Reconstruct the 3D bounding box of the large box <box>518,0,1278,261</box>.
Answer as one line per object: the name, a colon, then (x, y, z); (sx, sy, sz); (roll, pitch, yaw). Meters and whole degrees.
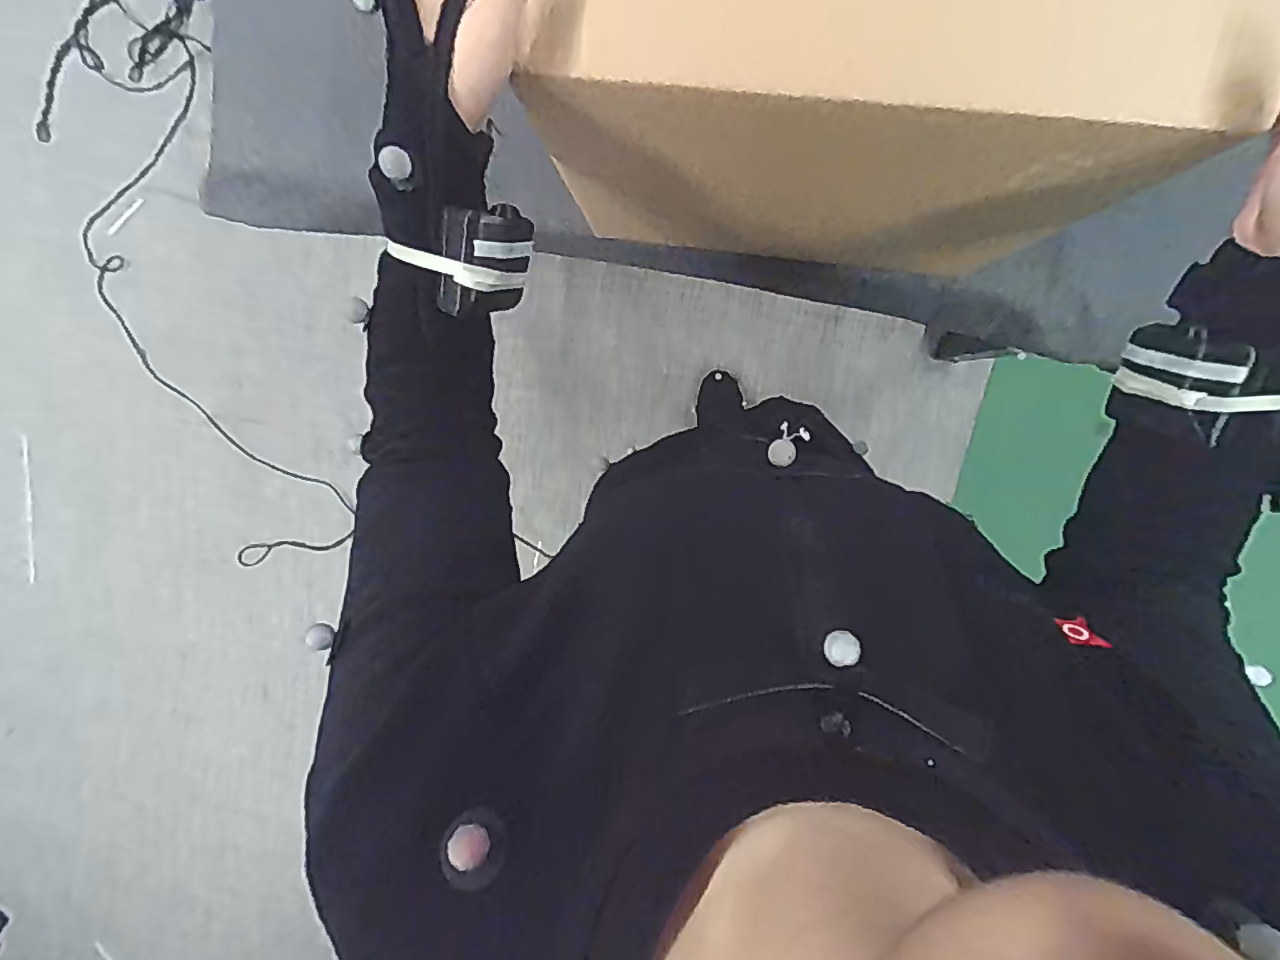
large box: (0.150, -0.384, 0.421); (0.408, 0.320, 0.320); (7, 99, 3)
